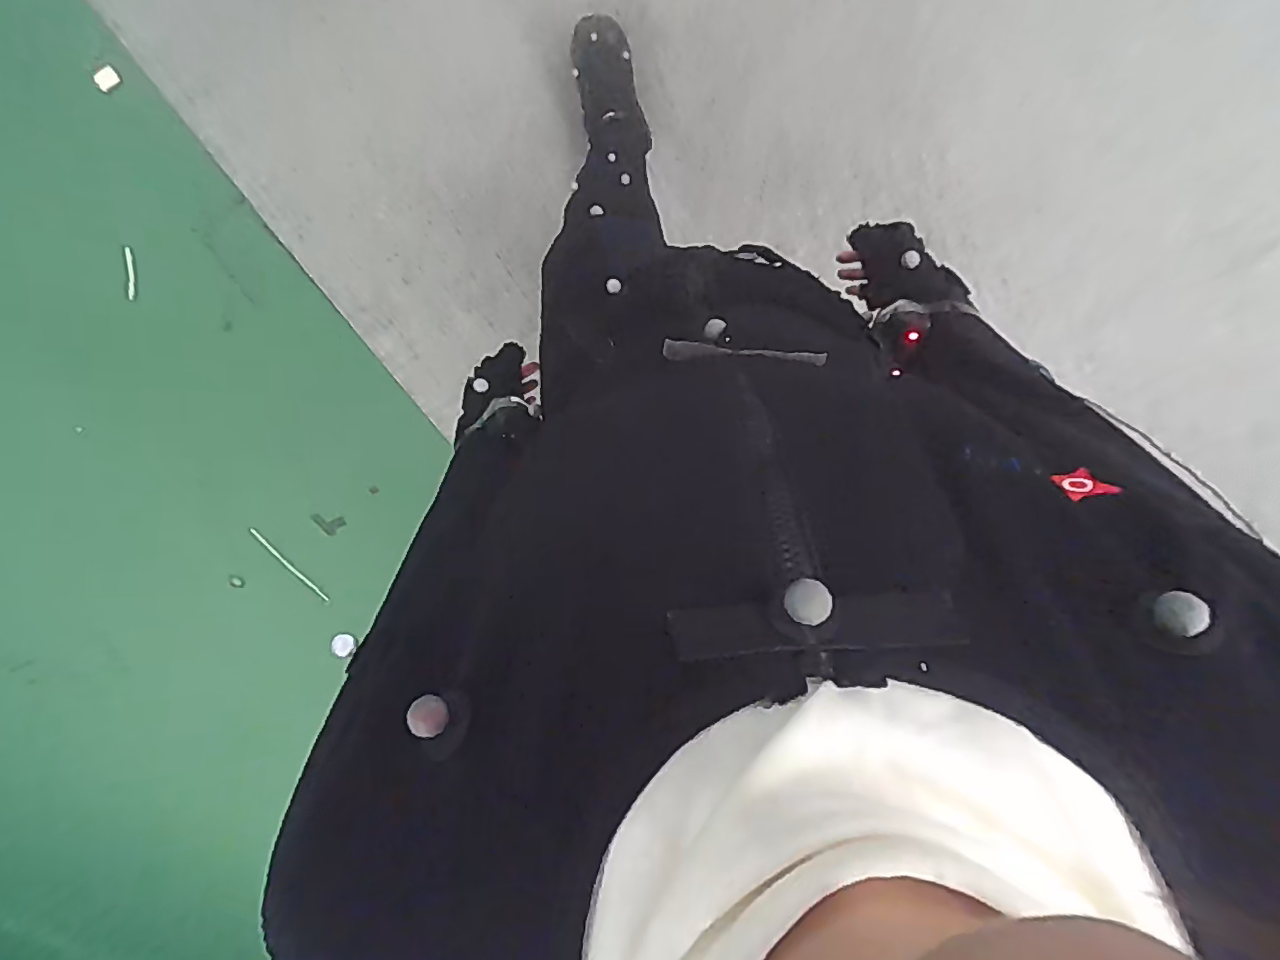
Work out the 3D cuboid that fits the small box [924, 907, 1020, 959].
[{"bbox_3d":[0.792,1.128,1.245,0.168,0.176,0.179,-28,116,11],"label":"small box"}]
